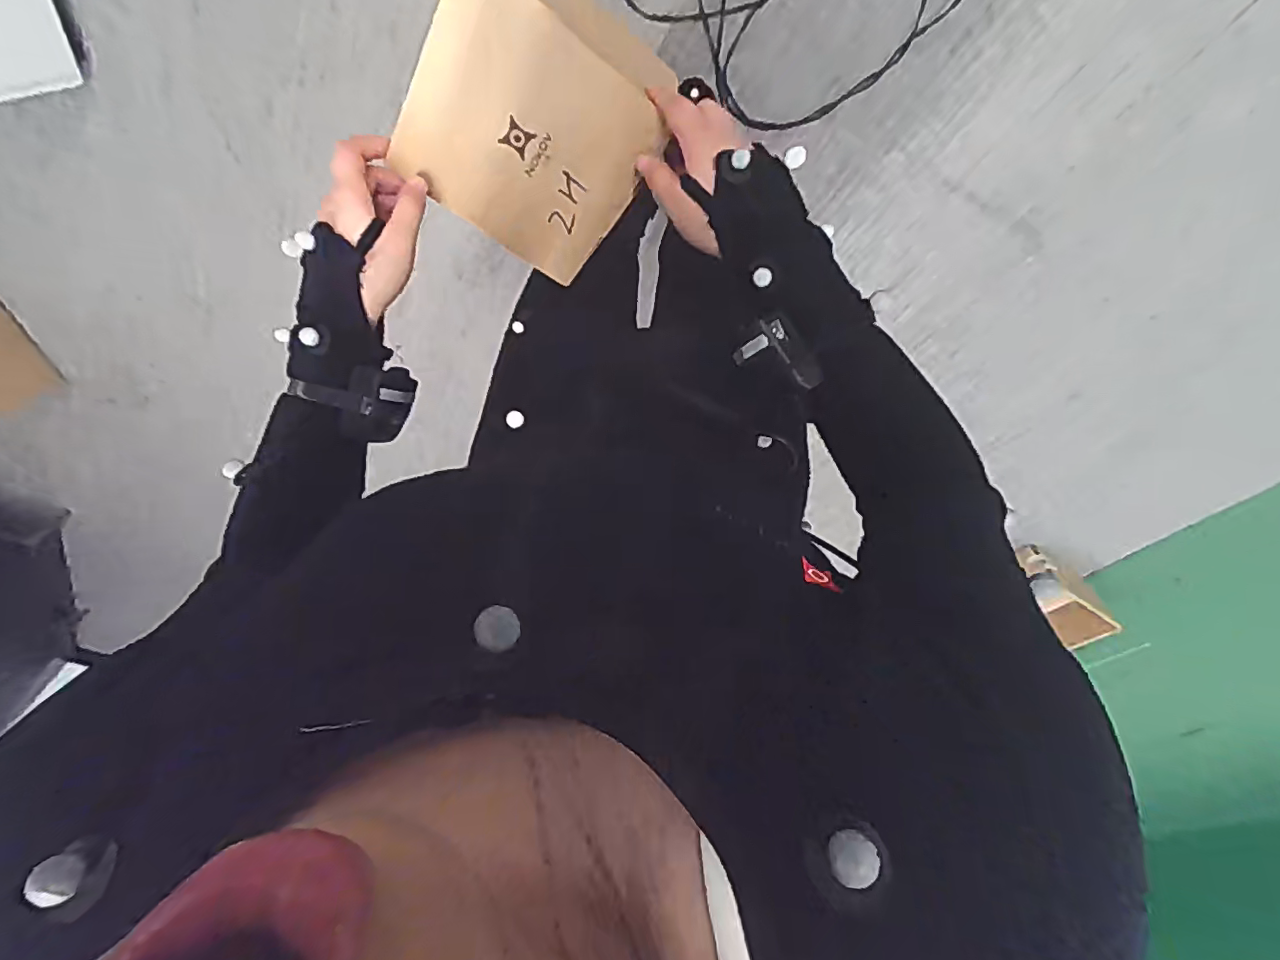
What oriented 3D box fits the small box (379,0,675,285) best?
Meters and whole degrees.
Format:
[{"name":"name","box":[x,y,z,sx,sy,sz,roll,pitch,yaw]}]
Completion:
[{"name":"small box","box":[-0.087,-0.316,0.469,0.179,0.176,0.168,28,133,-25]}]
